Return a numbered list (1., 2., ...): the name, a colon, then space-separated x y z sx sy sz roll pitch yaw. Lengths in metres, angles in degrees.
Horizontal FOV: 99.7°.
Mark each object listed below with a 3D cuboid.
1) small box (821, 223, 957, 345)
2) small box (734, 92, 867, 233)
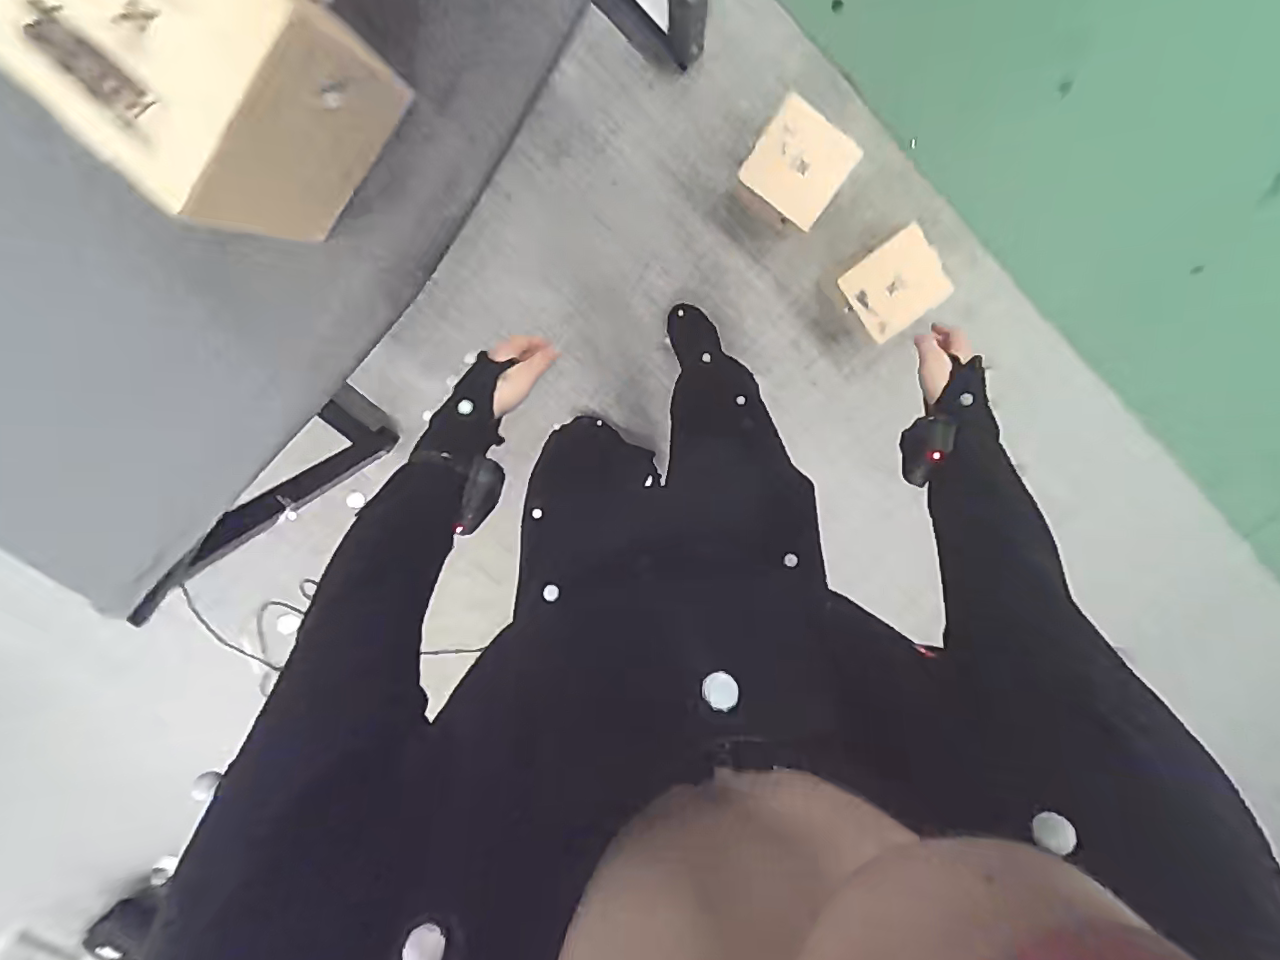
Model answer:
1. small box: 0.515 -0.414 1.141 0.179 0.176 0.168 -35 106 15
2. small box: 0.308 -0.616 1.076 0.179 0.176 0.168 34 109 -9
